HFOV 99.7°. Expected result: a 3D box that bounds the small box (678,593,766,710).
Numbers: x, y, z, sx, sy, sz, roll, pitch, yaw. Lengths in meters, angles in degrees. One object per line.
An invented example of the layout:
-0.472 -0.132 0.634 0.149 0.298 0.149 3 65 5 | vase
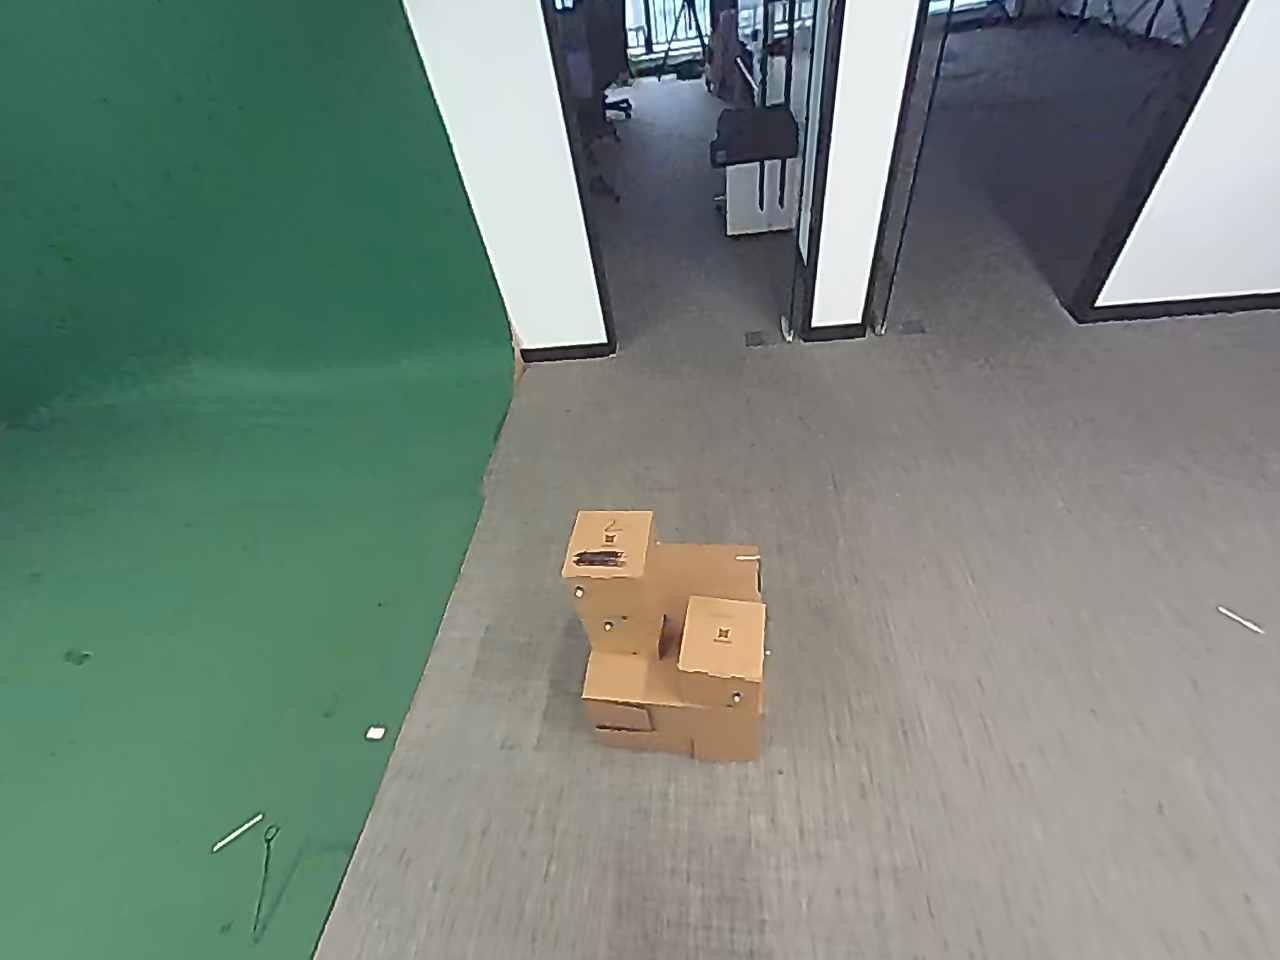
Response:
0.180 0.370 1.163 0.168 0.176 0.179 4 46 12 | small box

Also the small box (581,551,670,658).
-0.026 0.293 1.279 0.168 0.176 0.179 2 45 14 | small box
